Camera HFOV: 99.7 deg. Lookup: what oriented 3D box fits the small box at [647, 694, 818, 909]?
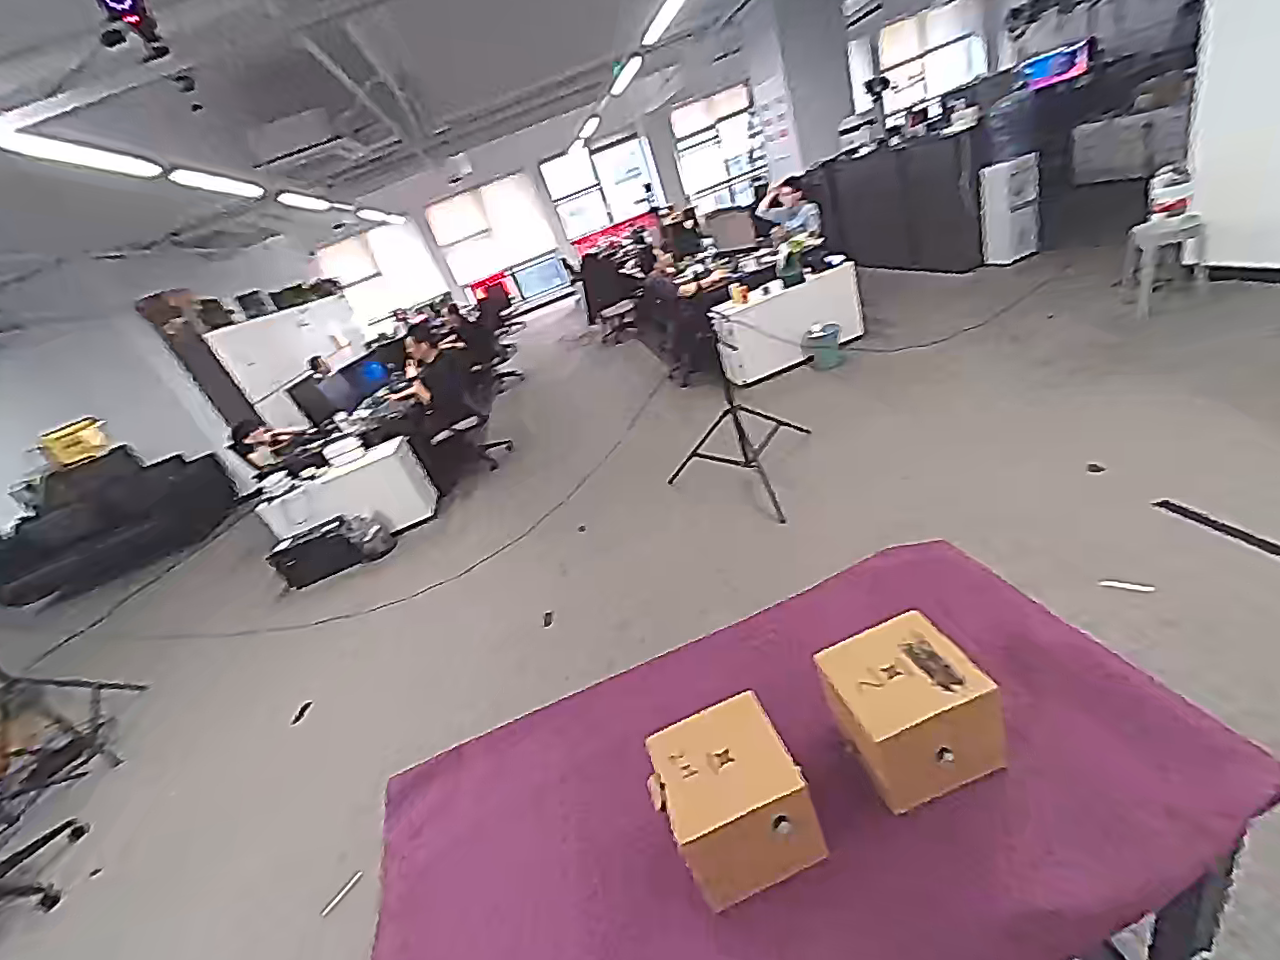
[{"bbox_3d":[0.133,0.449,0.764,0.179,0.176,0.168,-24,26,-4],"label":"small box"}]
